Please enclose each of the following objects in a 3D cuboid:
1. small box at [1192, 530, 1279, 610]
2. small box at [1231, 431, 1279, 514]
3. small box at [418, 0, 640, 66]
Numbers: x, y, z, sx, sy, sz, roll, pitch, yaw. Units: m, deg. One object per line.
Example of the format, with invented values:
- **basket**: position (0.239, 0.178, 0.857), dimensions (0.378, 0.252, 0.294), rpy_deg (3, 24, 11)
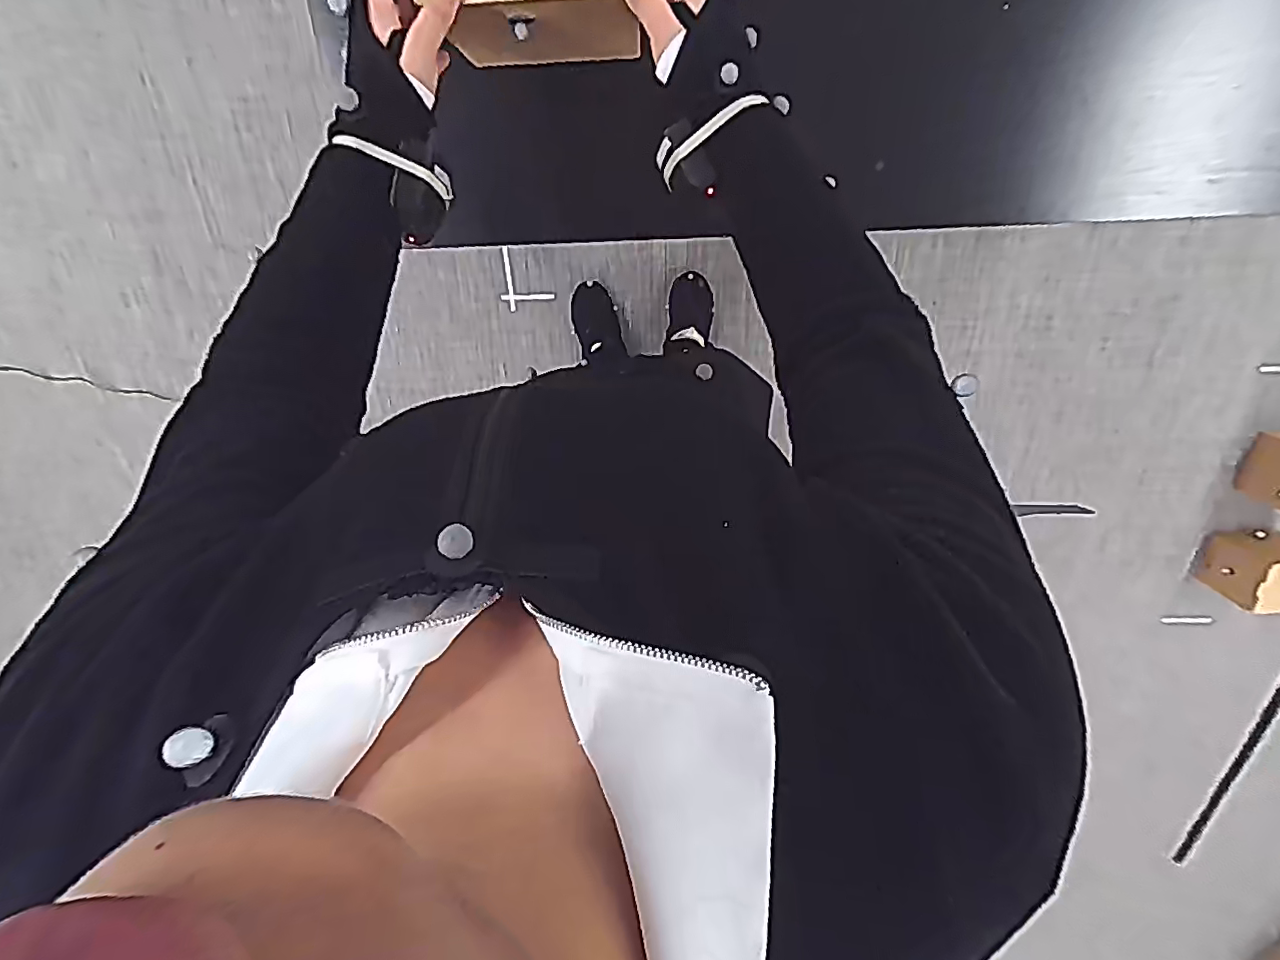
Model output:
- **small box**: position (1.759, 0.254, 1.547), dimensions (0.179, 0.176, 0.168), rpy_deg (-3, 114, 4)
- **small box**: position (1.739, -0.017, 1.423), dimensions (0.168, 0.176, 0.179), rpy_deg (1, 114, 1)
- **small box**: position (-0.091, -0.483, 0.469), dimensions (0.179, 0.176, 0.168), rpy_deg (-2, 114, 1)
